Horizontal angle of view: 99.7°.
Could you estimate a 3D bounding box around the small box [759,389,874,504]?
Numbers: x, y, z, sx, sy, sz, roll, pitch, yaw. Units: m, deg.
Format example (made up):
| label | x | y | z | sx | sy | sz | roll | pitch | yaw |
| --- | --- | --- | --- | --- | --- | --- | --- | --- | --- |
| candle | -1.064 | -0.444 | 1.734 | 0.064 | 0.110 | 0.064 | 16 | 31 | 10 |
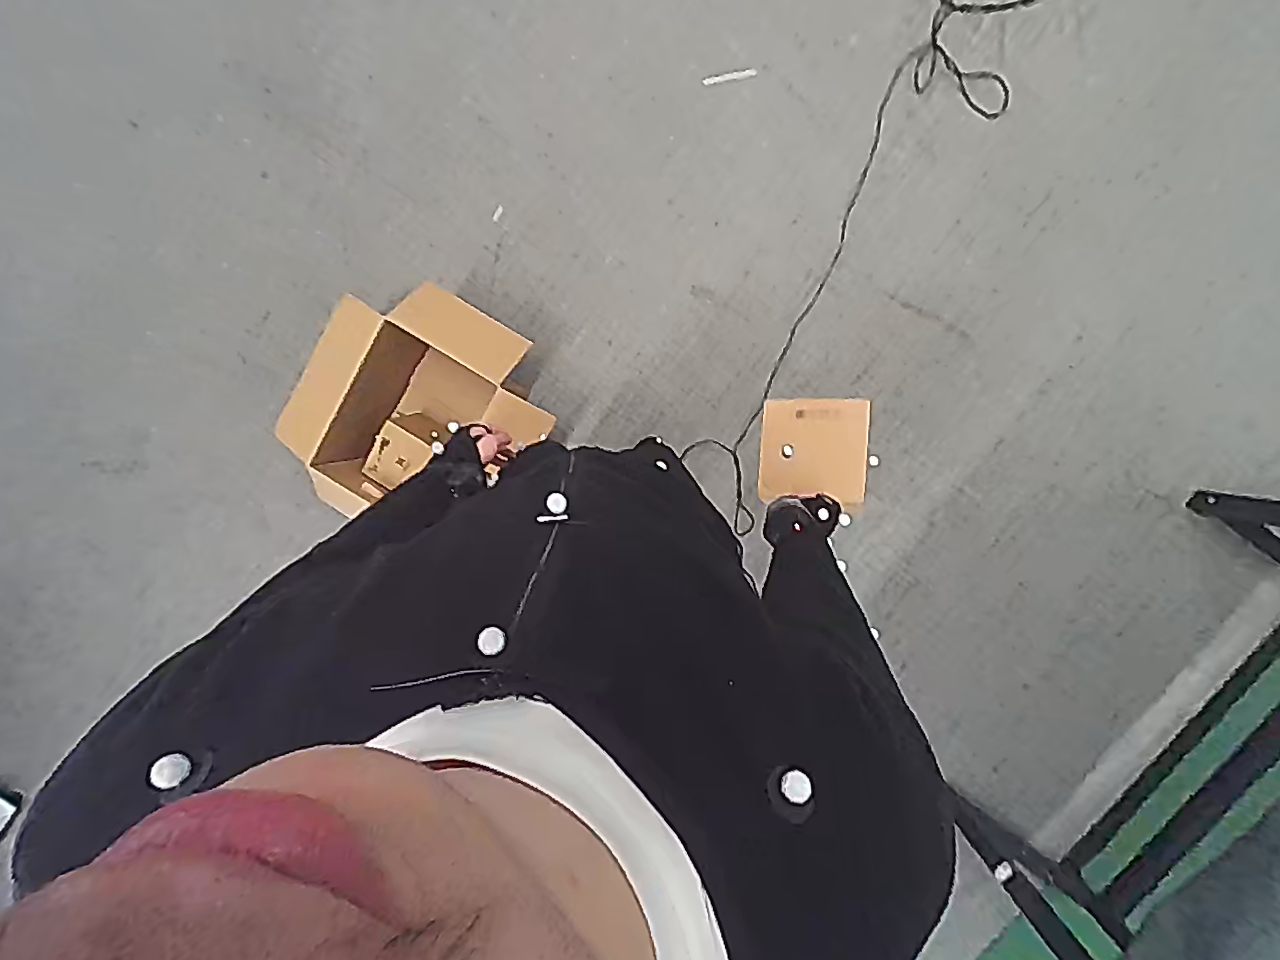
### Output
| label | x | y | z | sx | sy | sz | roll | pitch | yaw |
| --- | --- | --- | --- | --- | --- | --- | --- | --- | --- |
| small box | 0.307 | -0.056 | 0.932 | 0.168 | 0.179 | 0.176 | 5 | 85 | 23 |
